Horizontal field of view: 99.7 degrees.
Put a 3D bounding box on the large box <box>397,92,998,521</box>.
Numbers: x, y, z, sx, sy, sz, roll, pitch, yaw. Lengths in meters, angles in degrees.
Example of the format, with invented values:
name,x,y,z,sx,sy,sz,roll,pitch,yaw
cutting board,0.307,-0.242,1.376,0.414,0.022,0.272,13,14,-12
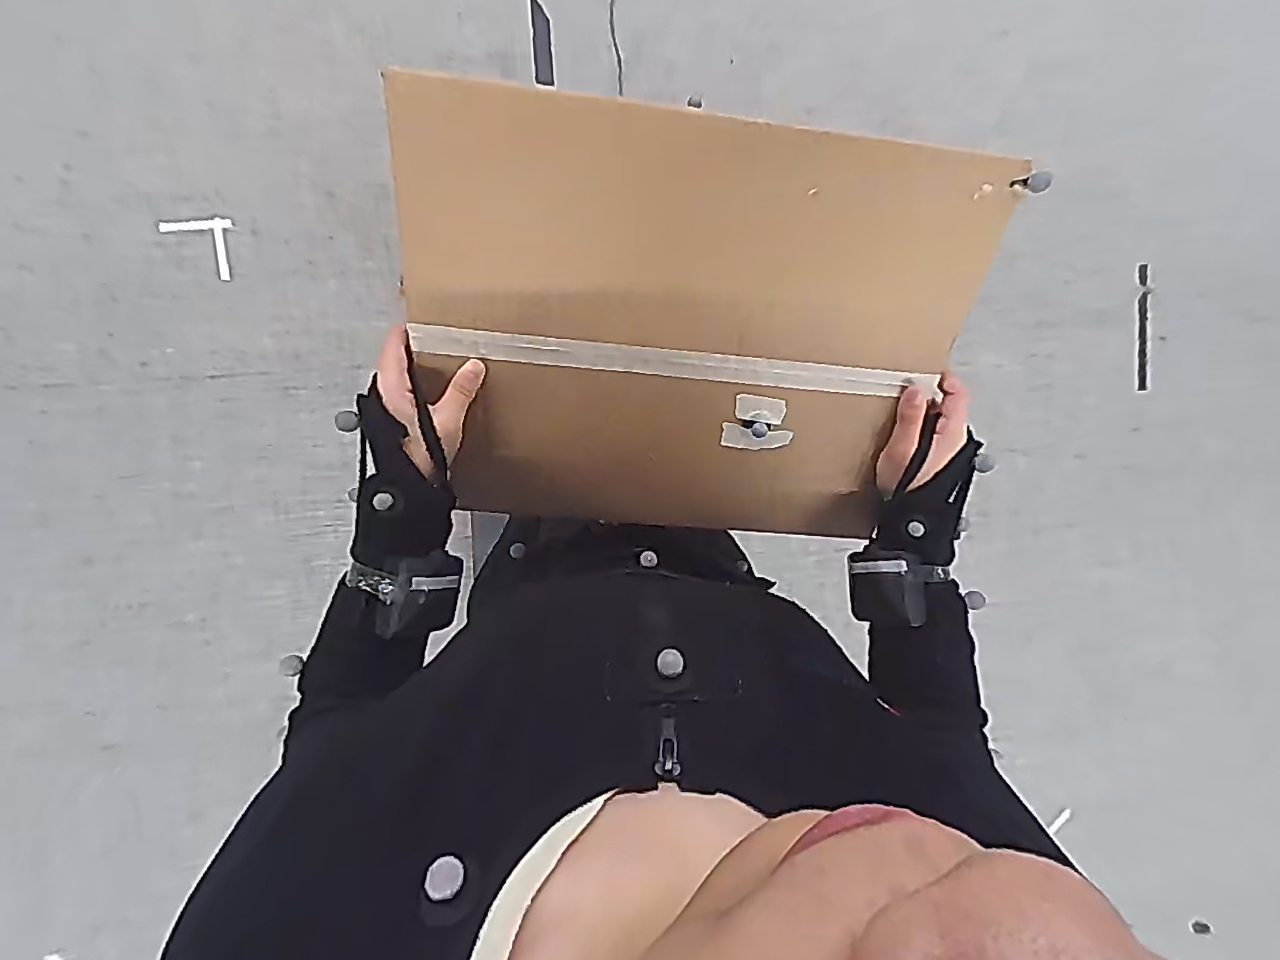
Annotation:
name,x,y,z,sx,sy,sz,roll,pitch,yaw
large box,0.023,-0.176,0.550,0.408,0.320,0.320,3,123,-6
